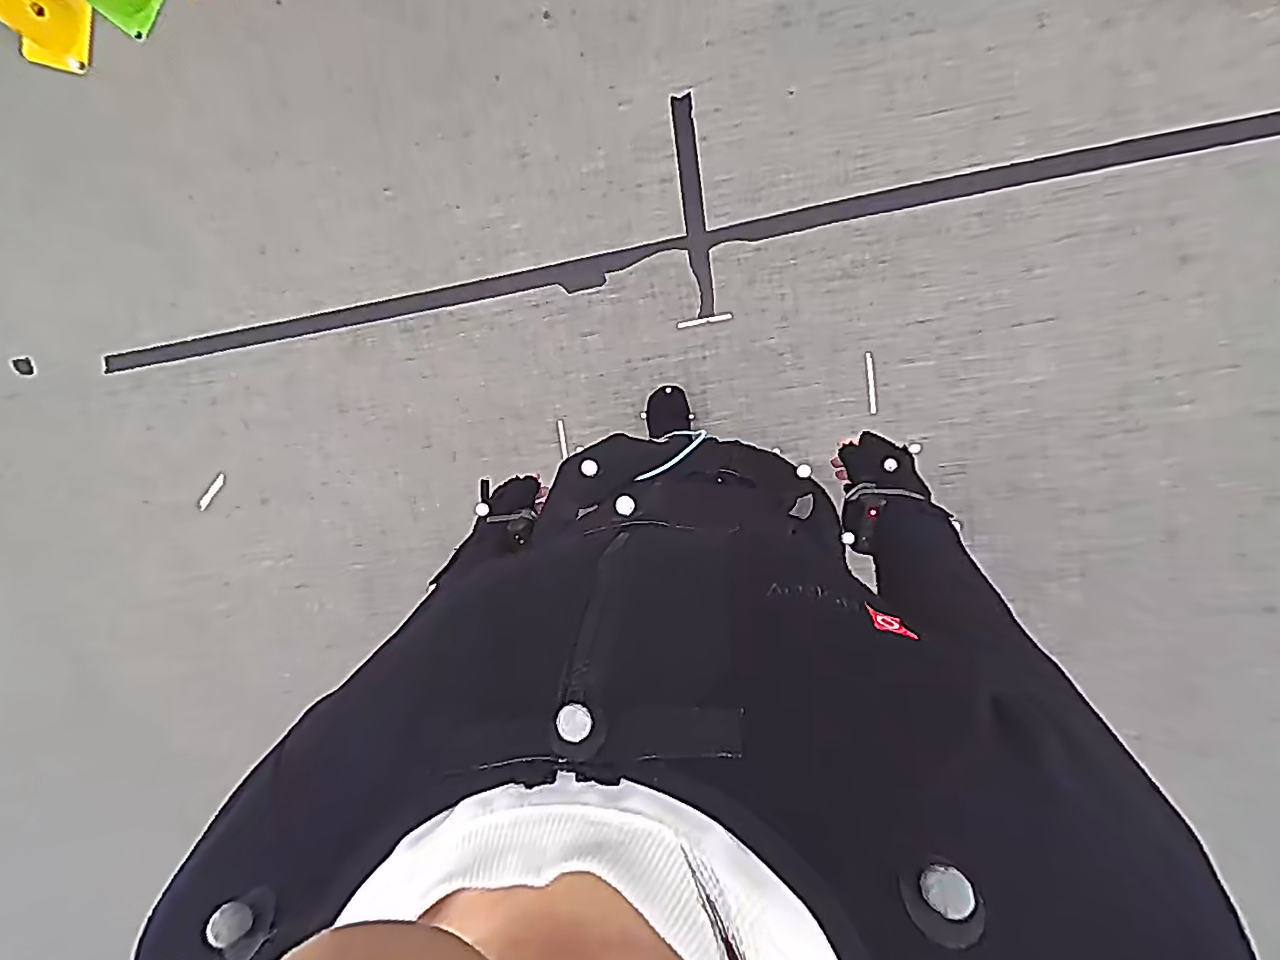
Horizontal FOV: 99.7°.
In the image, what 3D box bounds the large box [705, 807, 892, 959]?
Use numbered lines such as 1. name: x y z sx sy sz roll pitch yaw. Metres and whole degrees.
1. large box: 0.380 1.112 1.405 0.408 0.320 0.320 4 99 5
